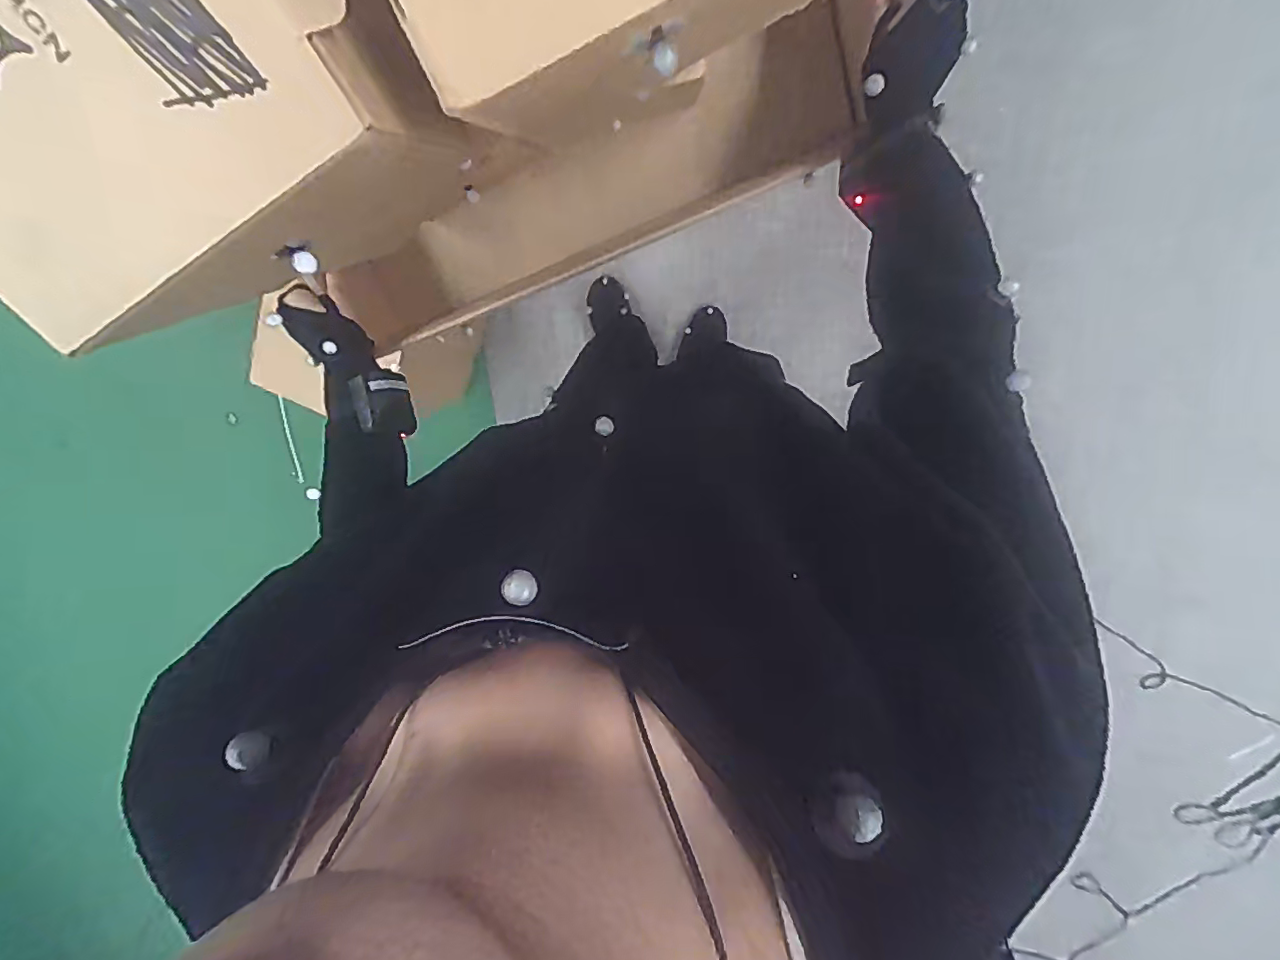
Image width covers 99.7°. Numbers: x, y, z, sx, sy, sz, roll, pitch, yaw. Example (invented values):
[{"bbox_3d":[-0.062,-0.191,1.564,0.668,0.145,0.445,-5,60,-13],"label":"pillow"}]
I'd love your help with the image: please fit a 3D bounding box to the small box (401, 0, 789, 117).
[{"bbox_3d":[-0.016,-0.273,0.214,0.179,0.176,0.168,-18,117,12],"label":"small box"}]
